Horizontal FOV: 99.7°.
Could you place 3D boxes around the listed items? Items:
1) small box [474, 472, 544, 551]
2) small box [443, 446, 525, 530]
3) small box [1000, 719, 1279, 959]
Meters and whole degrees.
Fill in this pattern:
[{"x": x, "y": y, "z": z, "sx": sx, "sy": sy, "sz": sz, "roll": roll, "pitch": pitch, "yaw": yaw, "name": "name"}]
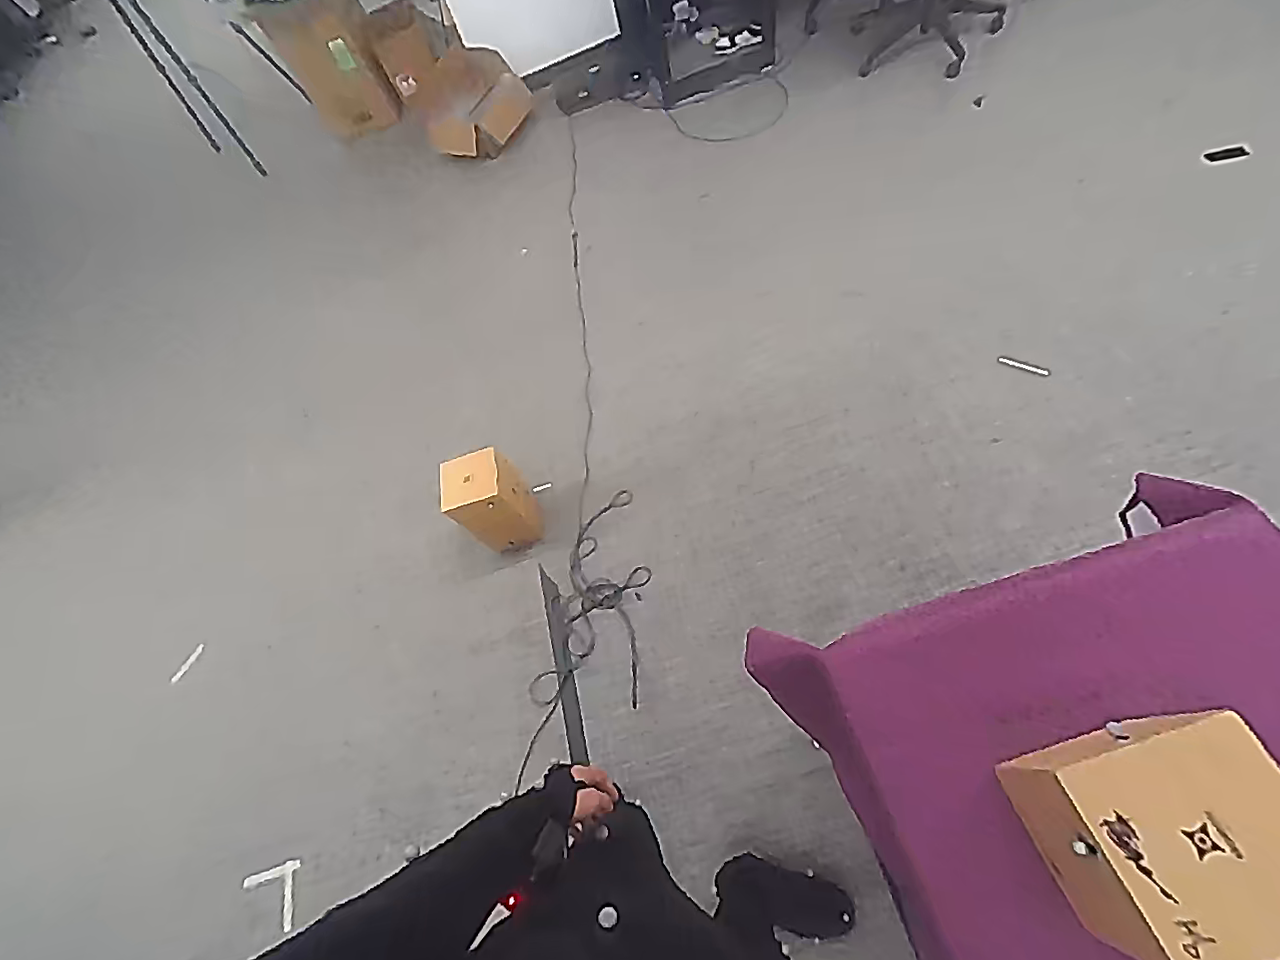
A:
[{"x": -0.424, "y": 0.104, "z": 1.741, "sx": 0.168, "sy": 0.176, "sz": 0.179, "roll": -18, "pitch": 61, "yaw": 5, "name": "small box"}, {"x": -0.460, "y": 0.031, "z": 1.600, "sx": 0.179, "sy": 0.176, "sz": 0.168, "roll": -17, "pitch": 60, "yaw": 6, "name": "small box"}, {"x": 0.512, "y": 0.352, "z": 0.539, "sx": 0.179, "sy": 0.176, "sz": 0.168, "roll": -20, "pitch": 60, "yaw": 3, "name": "small box"}]
